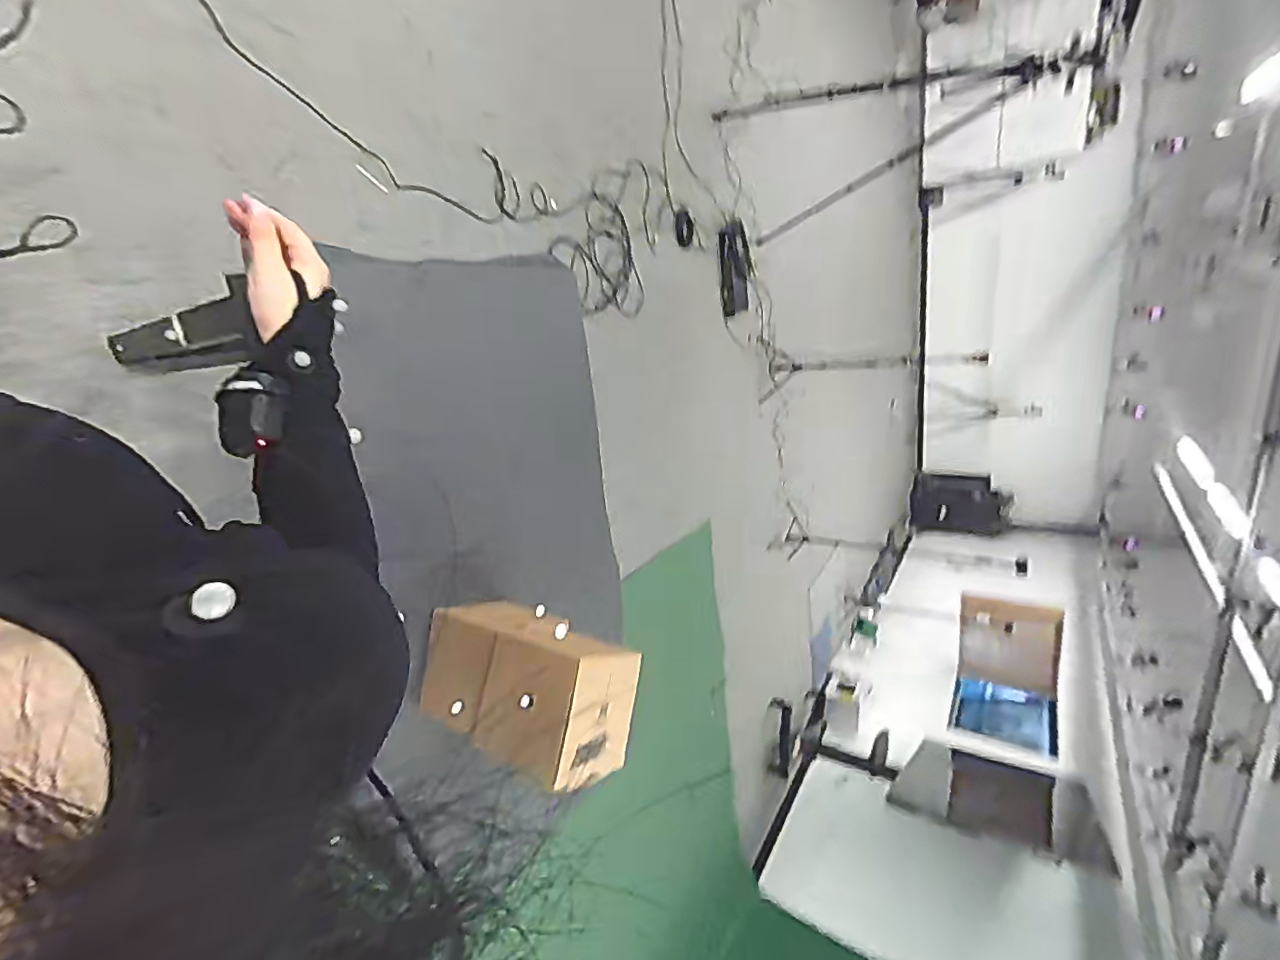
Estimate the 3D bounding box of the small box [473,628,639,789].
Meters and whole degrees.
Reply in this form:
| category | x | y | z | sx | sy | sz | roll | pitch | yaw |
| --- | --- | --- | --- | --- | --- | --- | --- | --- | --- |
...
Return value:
| category | x | y | z | sx | sy | sz | roll | pitch | yaw |
| --- | --- | --- | --- | --- | --- | --- | --- | --- | --- |
| small box | -0.129 | 0.336 | 0.829 | 0.168 | 0.176 | 0.179 | 25 | 73 | -55 |
